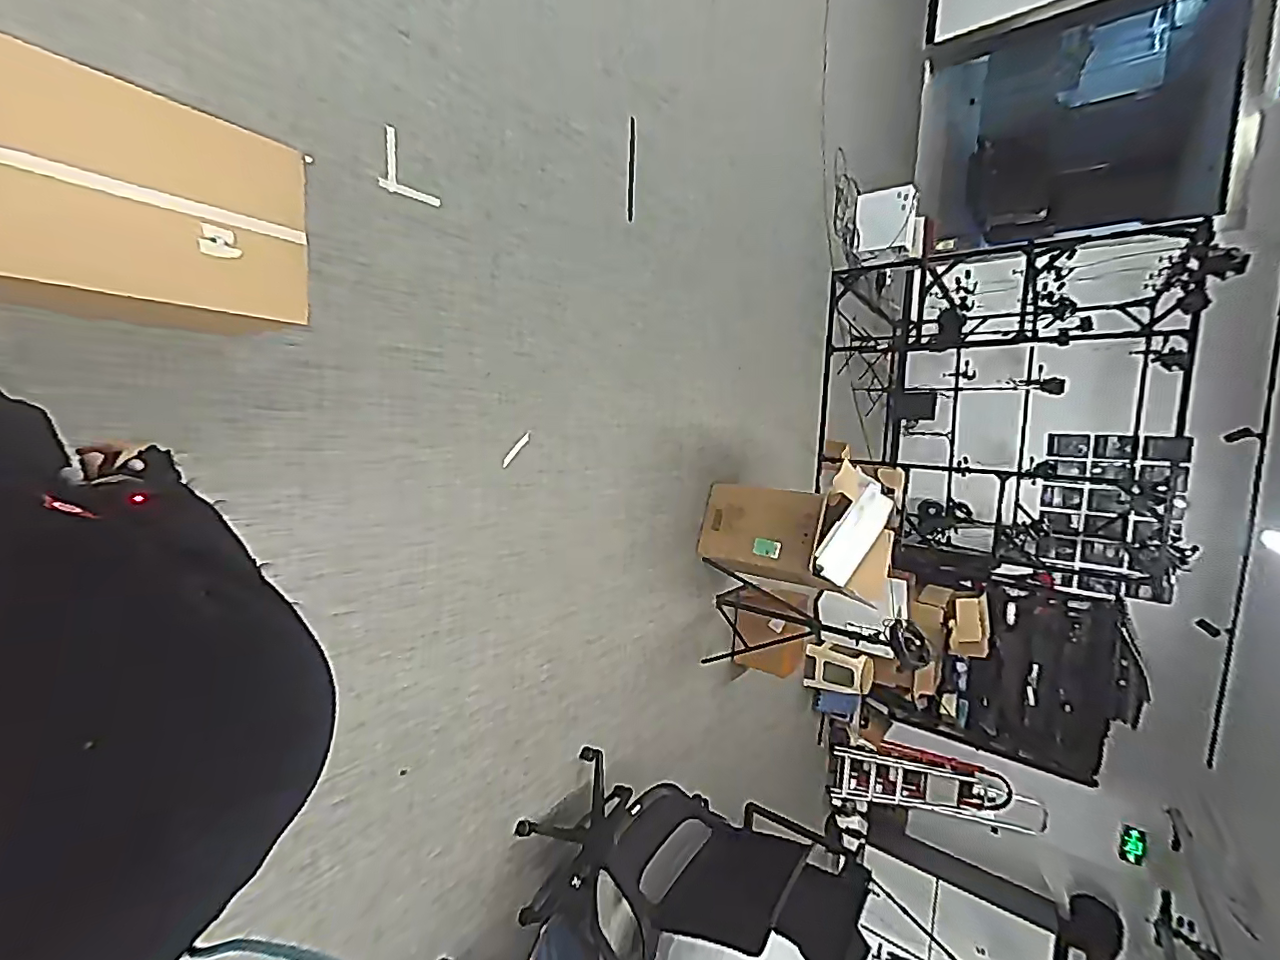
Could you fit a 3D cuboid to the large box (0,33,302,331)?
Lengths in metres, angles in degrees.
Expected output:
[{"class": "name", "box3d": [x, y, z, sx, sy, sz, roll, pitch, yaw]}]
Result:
[{"class": "large box", "box3d": [-0.868, -0.450, 0.923, 0.408, 0.320, 0.320, -6, 100, -55]}]
